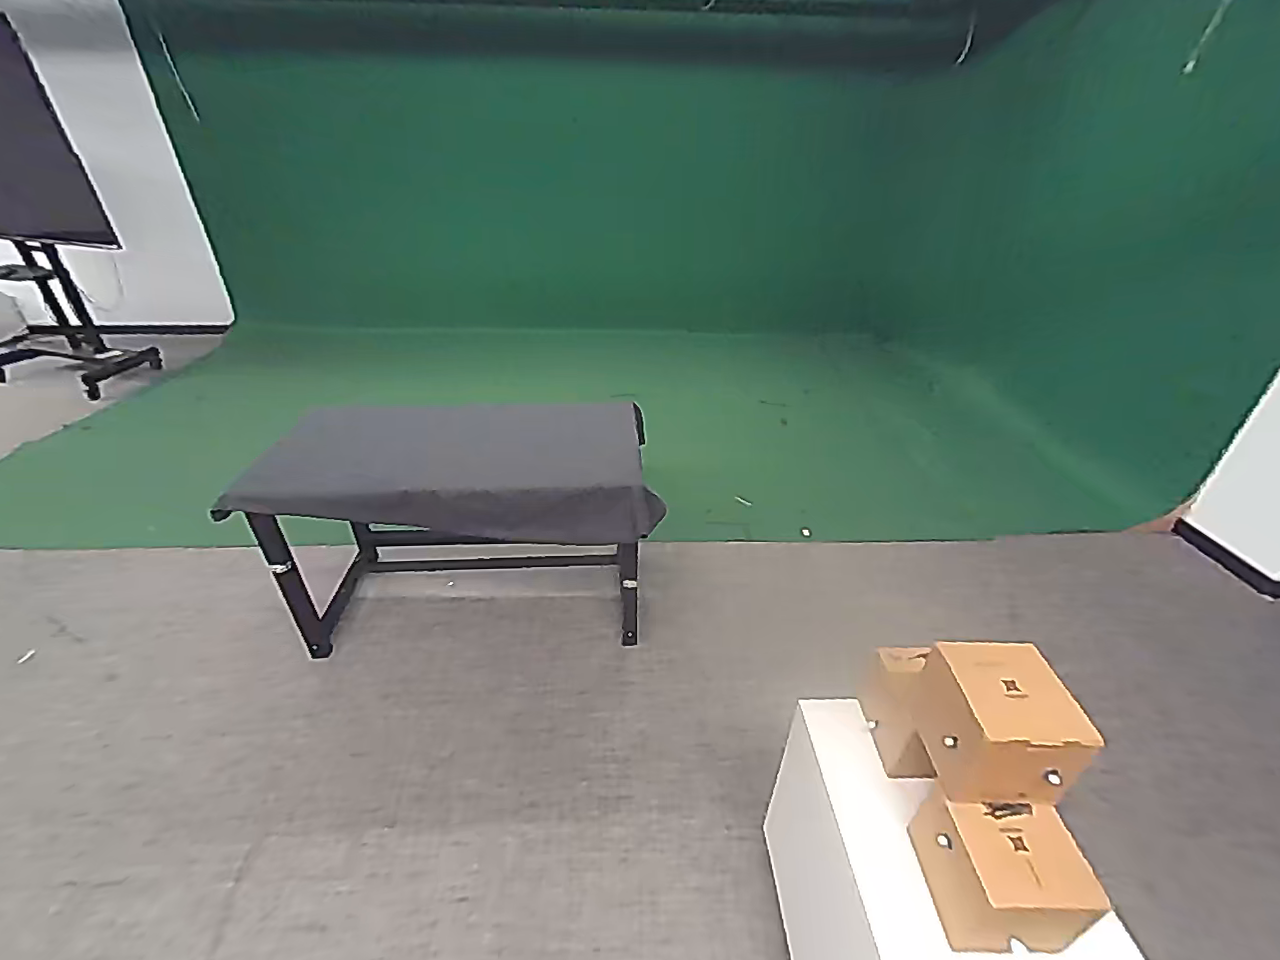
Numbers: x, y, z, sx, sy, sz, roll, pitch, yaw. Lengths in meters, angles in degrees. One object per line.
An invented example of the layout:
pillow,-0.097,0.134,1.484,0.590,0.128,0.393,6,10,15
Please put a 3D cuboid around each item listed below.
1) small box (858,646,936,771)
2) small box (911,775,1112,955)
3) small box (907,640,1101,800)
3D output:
small box,0.549,0.445,1.049,0.168,0.176,0.179,0,35,-2
small box,0.546,0.586,0.830,0.168,0.176,0.179,1,33,0
small box,0.554,0.378,0.855,0.168,0.176,0.179,2,32,-1
